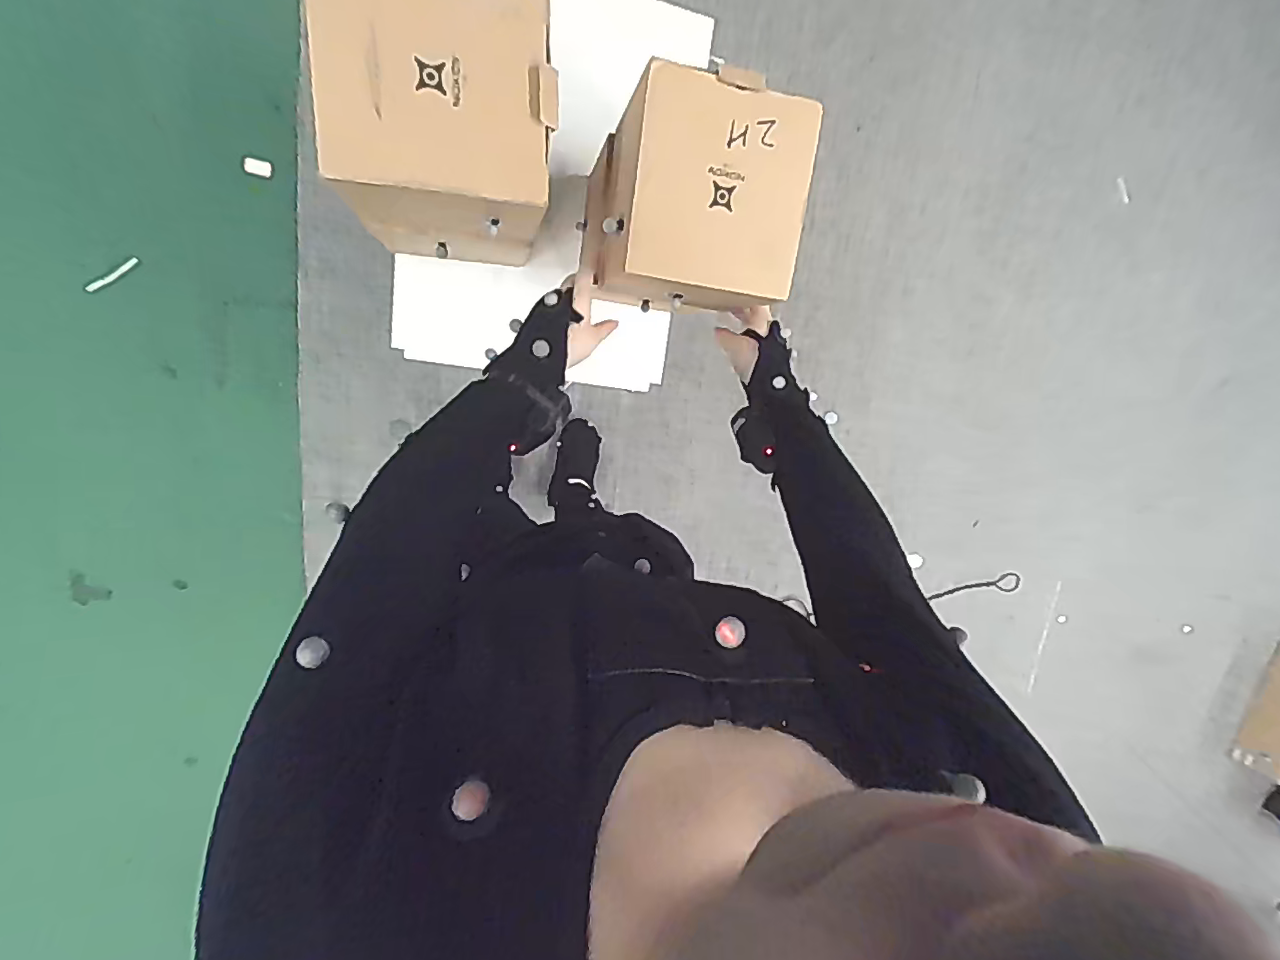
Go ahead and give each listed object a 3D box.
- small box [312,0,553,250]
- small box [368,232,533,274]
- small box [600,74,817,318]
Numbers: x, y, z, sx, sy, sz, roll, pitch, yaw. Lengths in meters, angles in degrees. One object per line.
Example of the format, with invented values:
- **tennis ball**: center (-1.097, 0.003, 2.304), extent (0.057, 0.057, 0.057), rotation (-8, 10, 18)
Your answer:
- **small box**: center (-0.179, -0.319, 0.502), extent (0.179, 0.176, 0.168), rotation (-2, 102, -15)
- **small box**: center (-0.222, -0.353, 0.656), extent (0.179, 0.176, 0.168), rotation (0, 103, -16)
- **small box**: center (0.056, -0.273, 0.572), extent (0.168, 0.176, 0.179), rotation (4, 102, -15)
